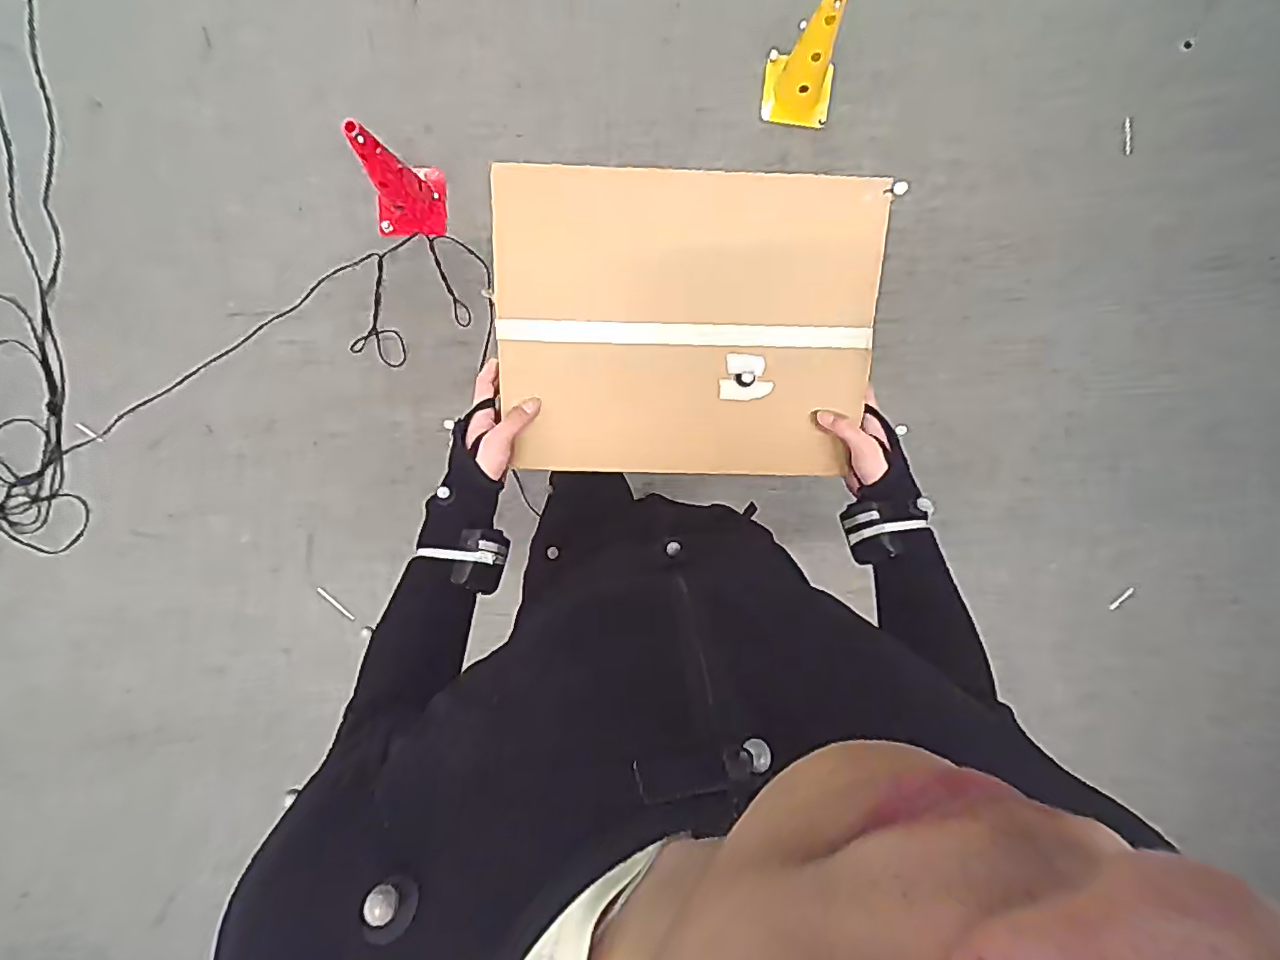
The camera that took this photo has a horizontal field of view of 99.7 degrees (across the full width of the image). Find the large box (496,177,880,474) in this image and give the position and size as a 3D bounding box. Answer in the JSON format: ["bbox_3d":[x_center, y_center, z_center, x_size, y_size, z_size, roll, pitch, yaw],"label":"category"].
[{"bbox_3d":[0.045,-0.196,0.734,0.408,0.320,0.320,0,106,-2],"label":"large box"}]
